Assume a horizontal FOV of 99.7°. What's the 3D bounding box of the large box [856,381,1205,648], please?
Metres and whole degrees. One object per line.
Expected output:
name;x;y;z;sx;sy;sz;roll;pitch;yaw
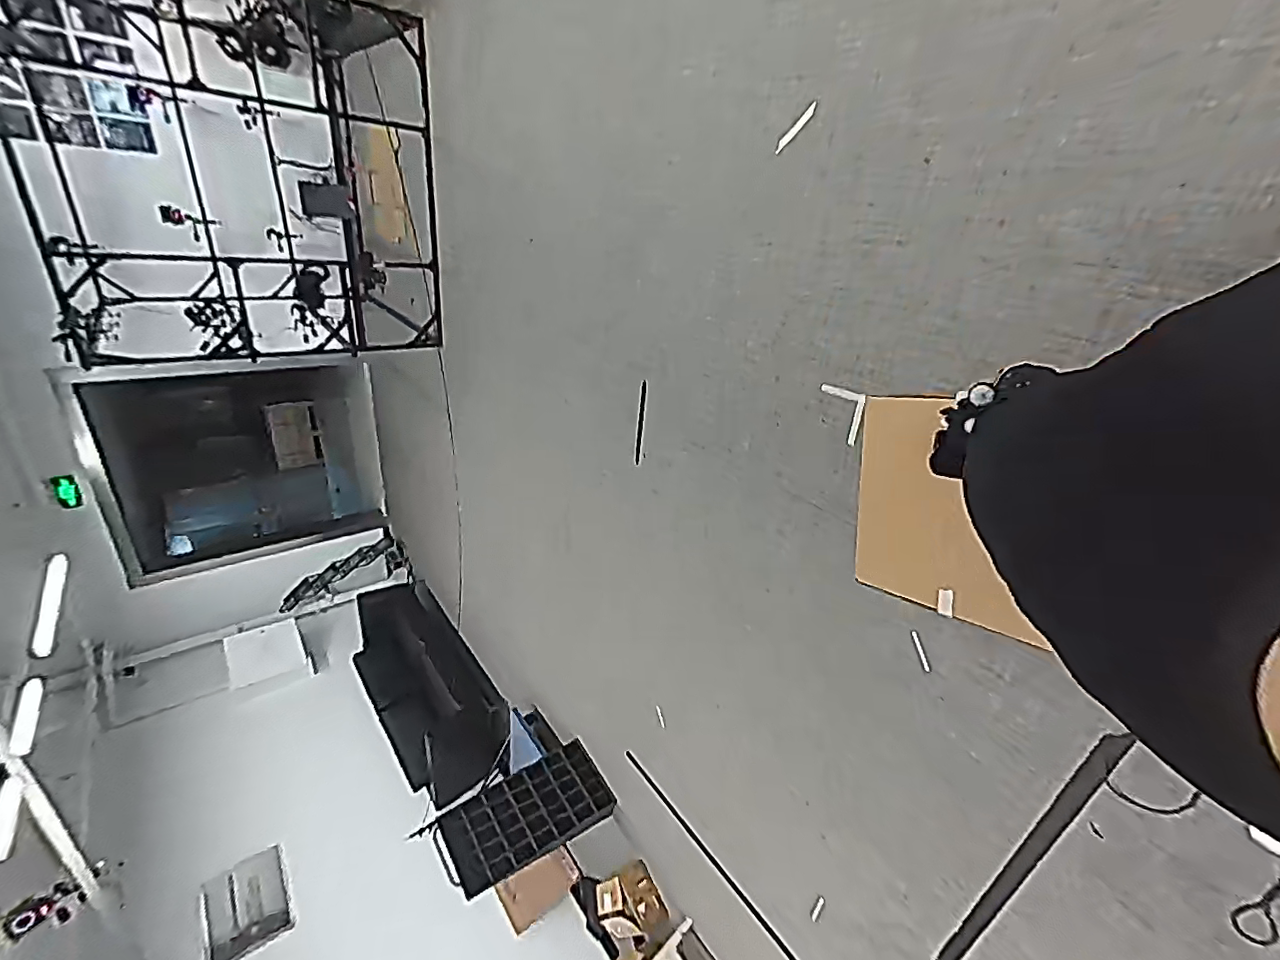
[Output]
large box;0.600;0.012;0.855;0.320;0.408;0.320;15;110;56
